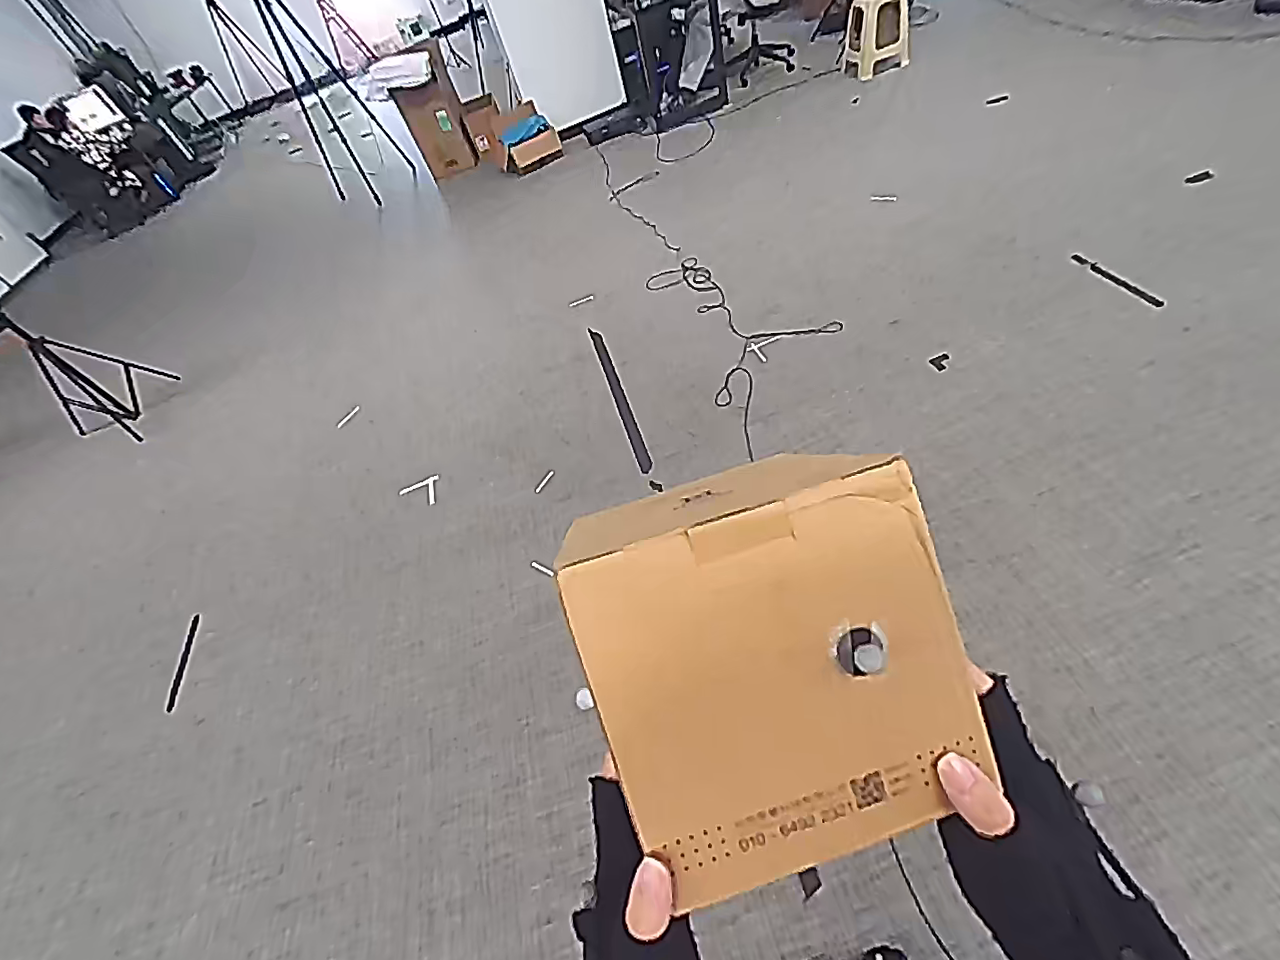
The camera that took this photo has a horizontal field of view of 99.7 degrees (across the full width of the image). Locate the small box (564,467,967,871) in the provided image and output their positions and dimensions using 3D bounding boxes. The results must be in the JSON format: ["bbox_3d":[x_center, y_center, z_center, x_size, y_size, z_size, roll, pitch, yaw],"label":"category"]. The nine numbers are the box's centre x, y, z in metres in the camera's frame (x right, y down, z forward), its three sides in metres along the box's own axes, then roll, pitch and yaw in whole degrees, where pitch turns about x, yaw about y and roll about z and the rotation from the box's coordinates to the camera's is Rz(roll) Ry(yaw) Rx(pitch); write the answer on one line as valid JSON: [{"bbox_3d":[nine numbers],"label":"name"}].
[{"bbox_3d":[0.063,0.099,0.339,0.168,0.176,0.179,-18,3,-2],"label":"small box"}]
